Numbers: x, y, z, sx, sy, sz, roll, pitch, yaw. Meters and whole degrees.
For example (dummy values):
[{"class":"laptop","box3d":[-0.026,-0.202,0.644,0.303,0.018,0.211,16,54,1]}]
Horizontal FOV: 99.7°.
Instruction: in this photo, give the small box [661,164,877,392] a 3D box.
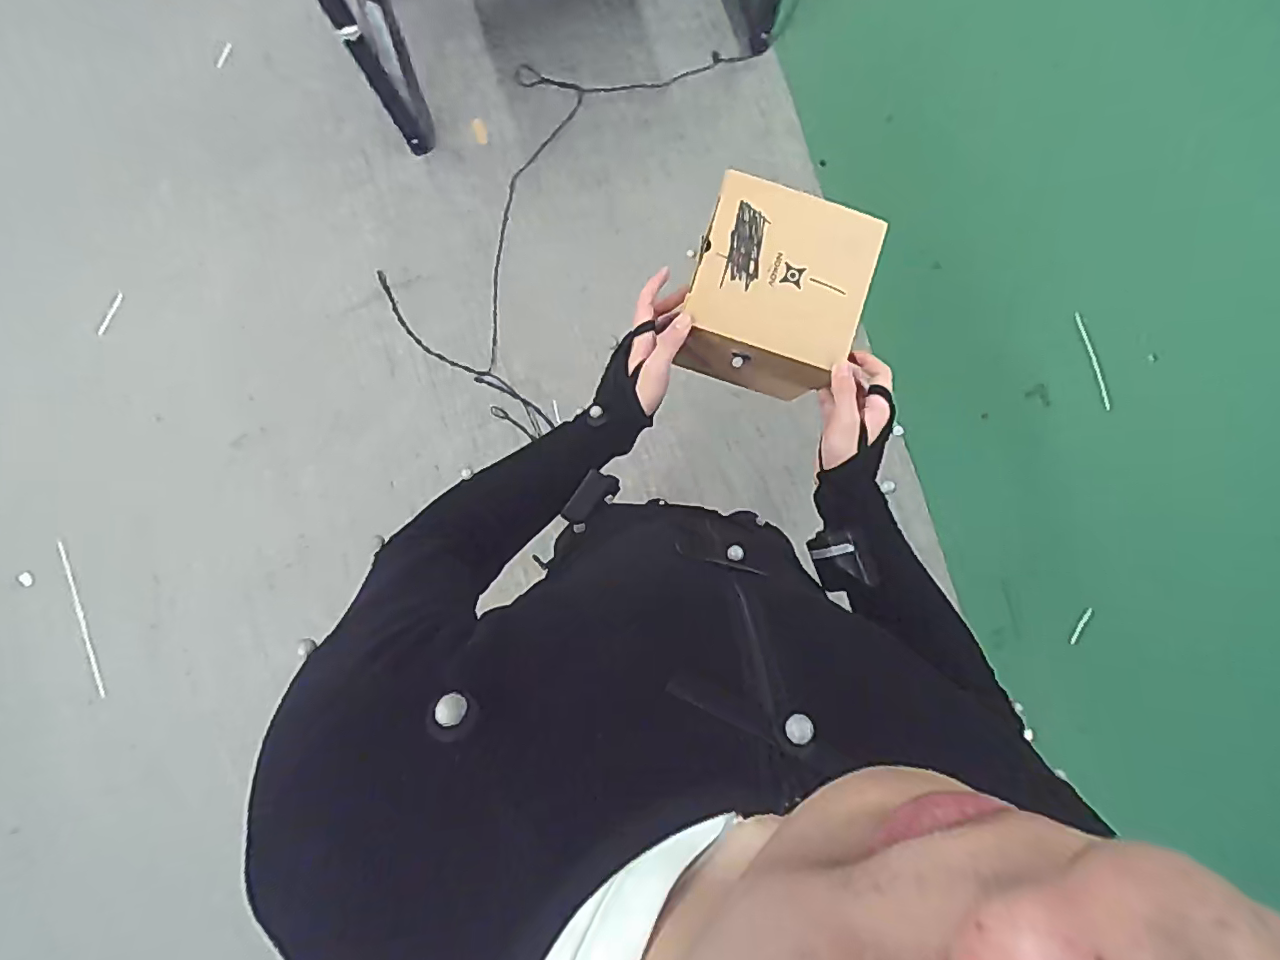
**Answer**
[{"class":"small box","box3d":[0.130,-0.211,0.617,0.179,0.176,0.168,17,87,-3]}]

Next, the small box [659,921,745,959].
[{"class":"small box","box3d":[0.130,1.055,1.111,0.179,0.176,0.168,-4,85,-2]}]

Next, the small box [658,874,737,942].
[{"class":"small box","box3d":[0.141,1.078,1.275,0.179,0.176,0.168,-12,86,-2]}]
